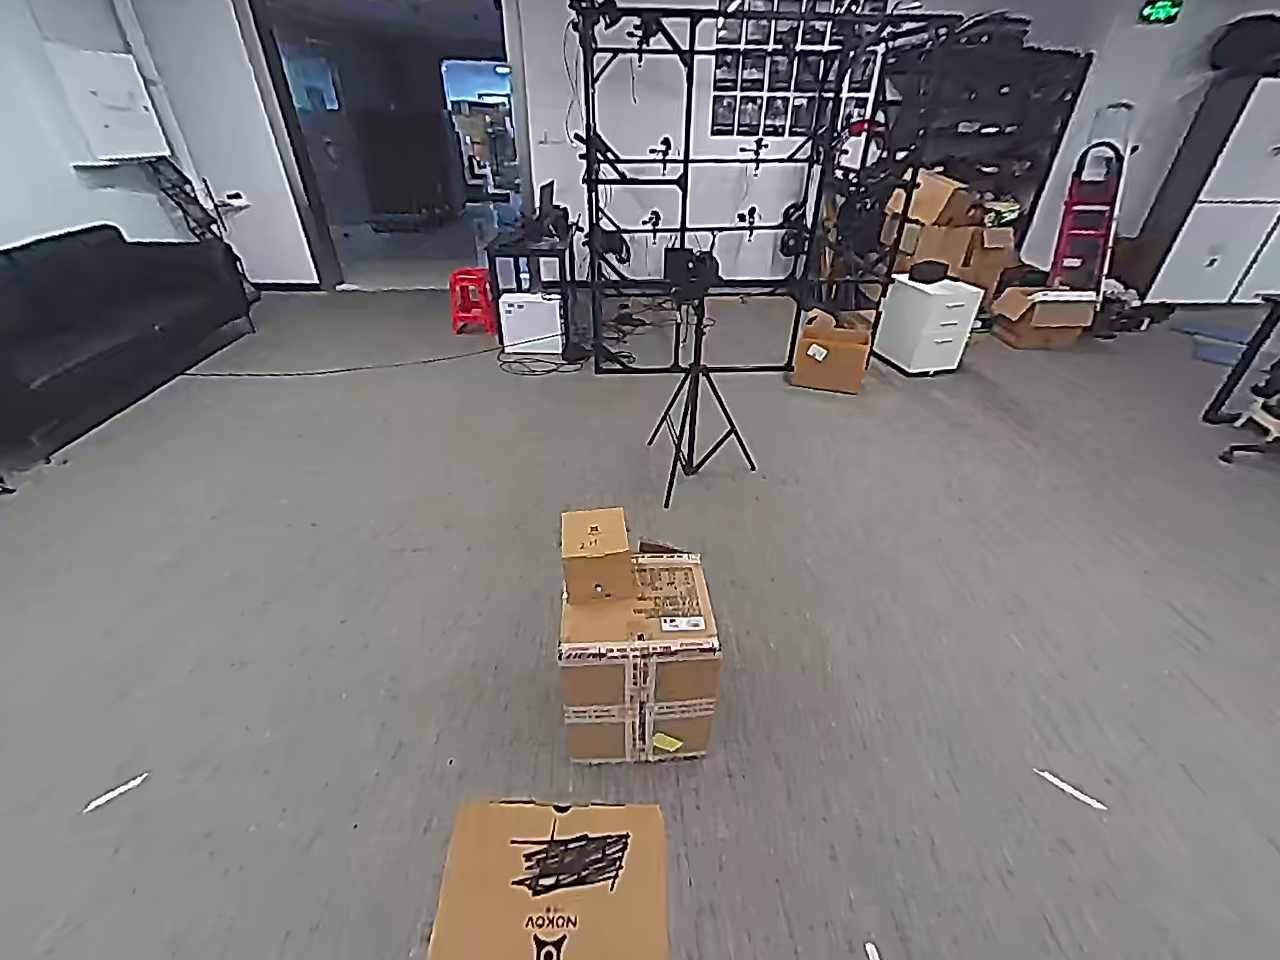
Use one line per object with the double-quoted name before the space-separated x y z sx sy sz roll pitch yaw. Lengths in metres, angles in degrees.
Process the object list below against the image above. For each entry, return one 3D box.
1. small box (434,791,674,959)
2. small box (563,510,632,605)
"small box" -0.068 0.376 0.430 0.168 0.176 0.179 5 40 -5
"small box" -0.113 0.203 1.418 0.168 0.176 0.179 -6 37 -5
